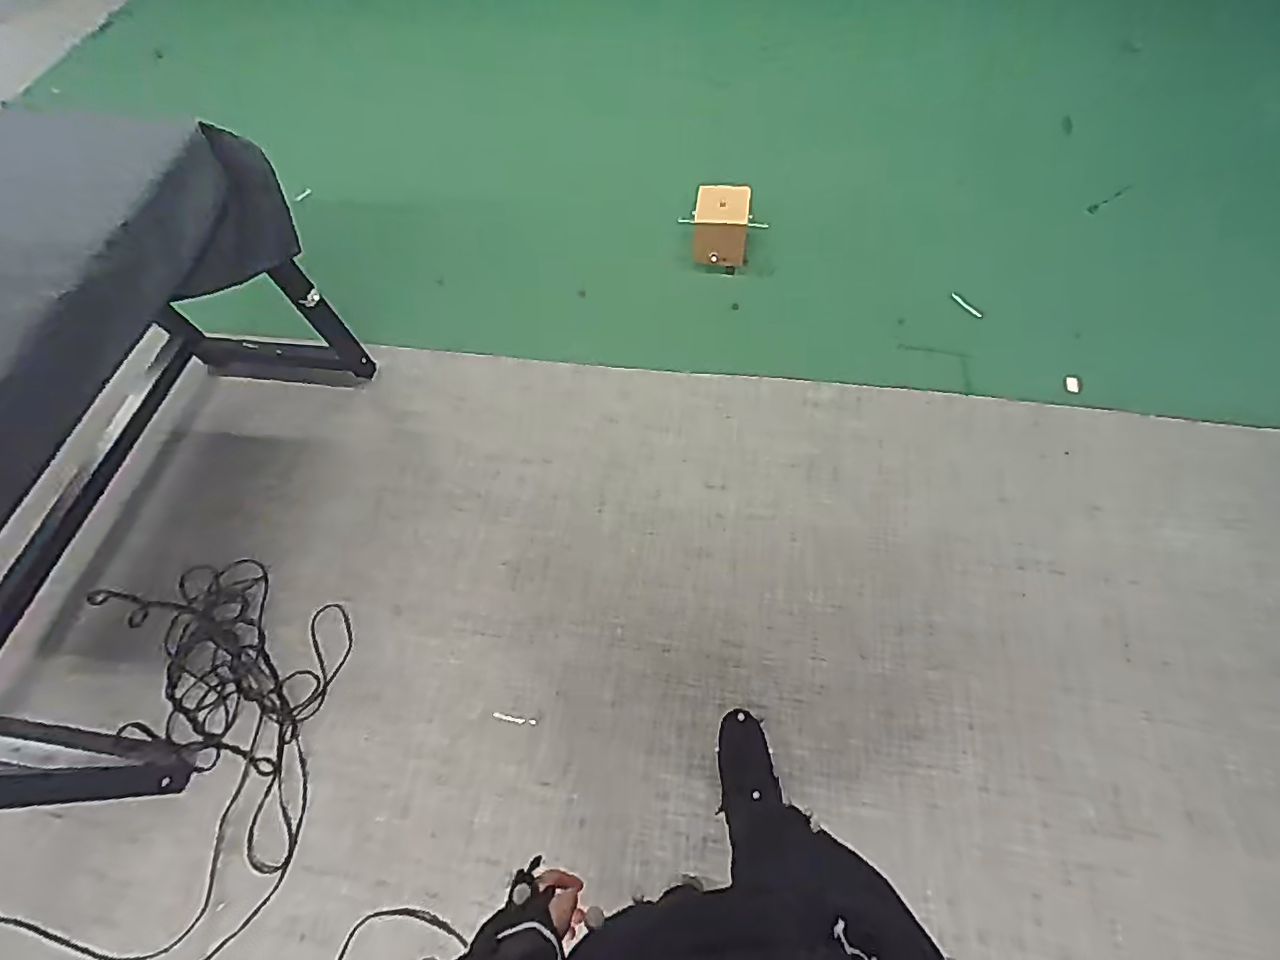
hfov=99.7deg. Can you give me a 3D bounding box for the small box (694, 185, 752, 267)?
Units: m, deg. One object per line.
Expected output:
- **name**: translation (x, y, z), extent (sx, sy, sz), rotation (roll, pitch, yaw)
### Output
- **small box**: translation (0.266, -0.823, 1.758), extent (0.168, 0.176, 0.179), rotation (6, 65, 7)
